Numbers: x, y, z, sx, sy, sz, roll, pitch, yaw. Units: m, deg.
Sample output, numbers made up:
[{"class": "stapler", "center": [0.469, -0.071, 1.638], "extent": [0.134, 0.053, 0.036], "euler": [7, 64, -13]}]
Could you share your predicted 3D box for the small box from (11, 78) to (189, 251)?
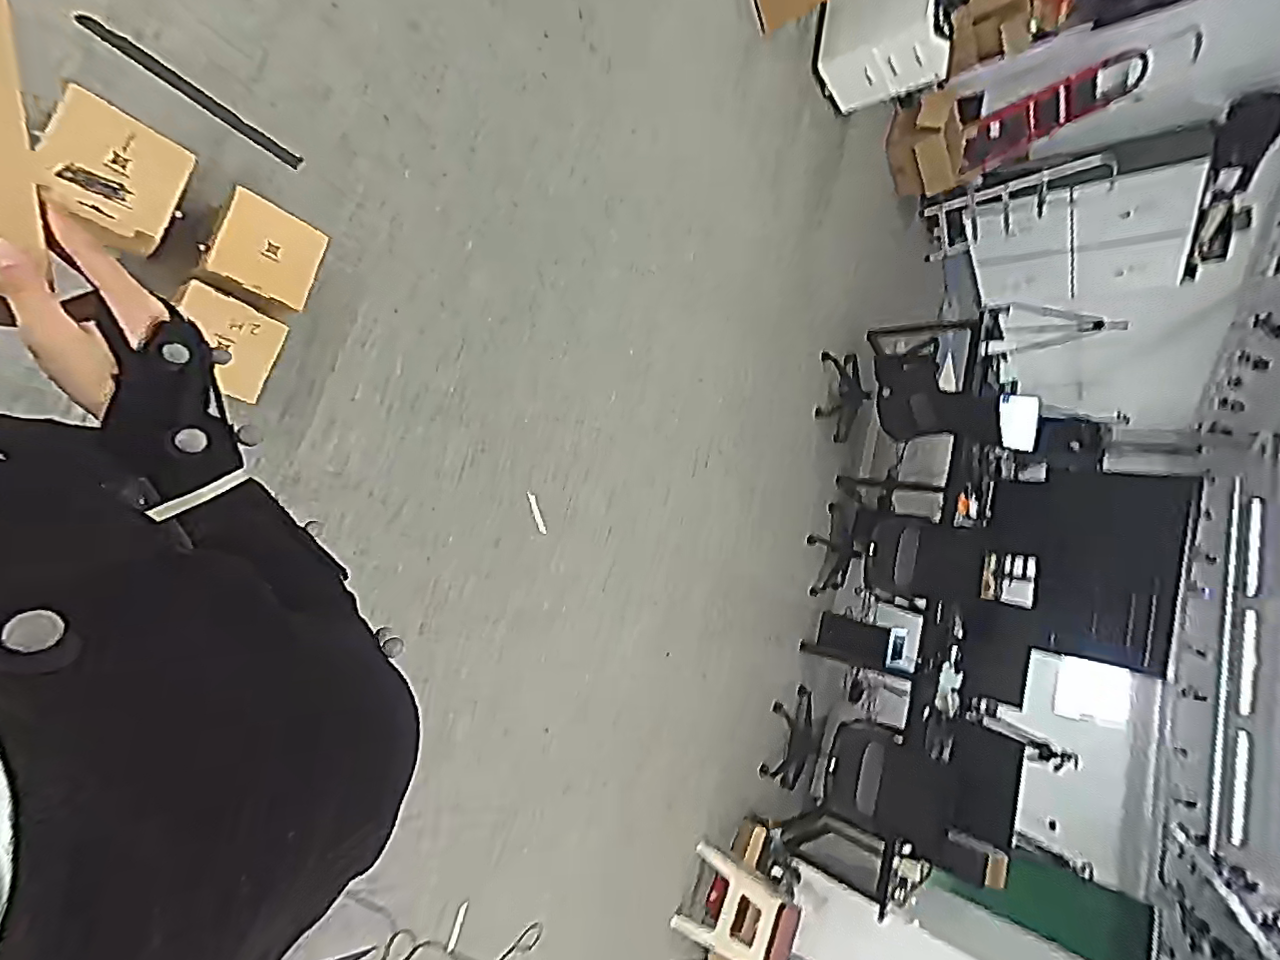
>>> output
[{"class": "small box", "center": [-0.928, -0.526, 0.934], "extent": [0.168, 0.176, 0.179], "euler": [27, 74, -48]}]
